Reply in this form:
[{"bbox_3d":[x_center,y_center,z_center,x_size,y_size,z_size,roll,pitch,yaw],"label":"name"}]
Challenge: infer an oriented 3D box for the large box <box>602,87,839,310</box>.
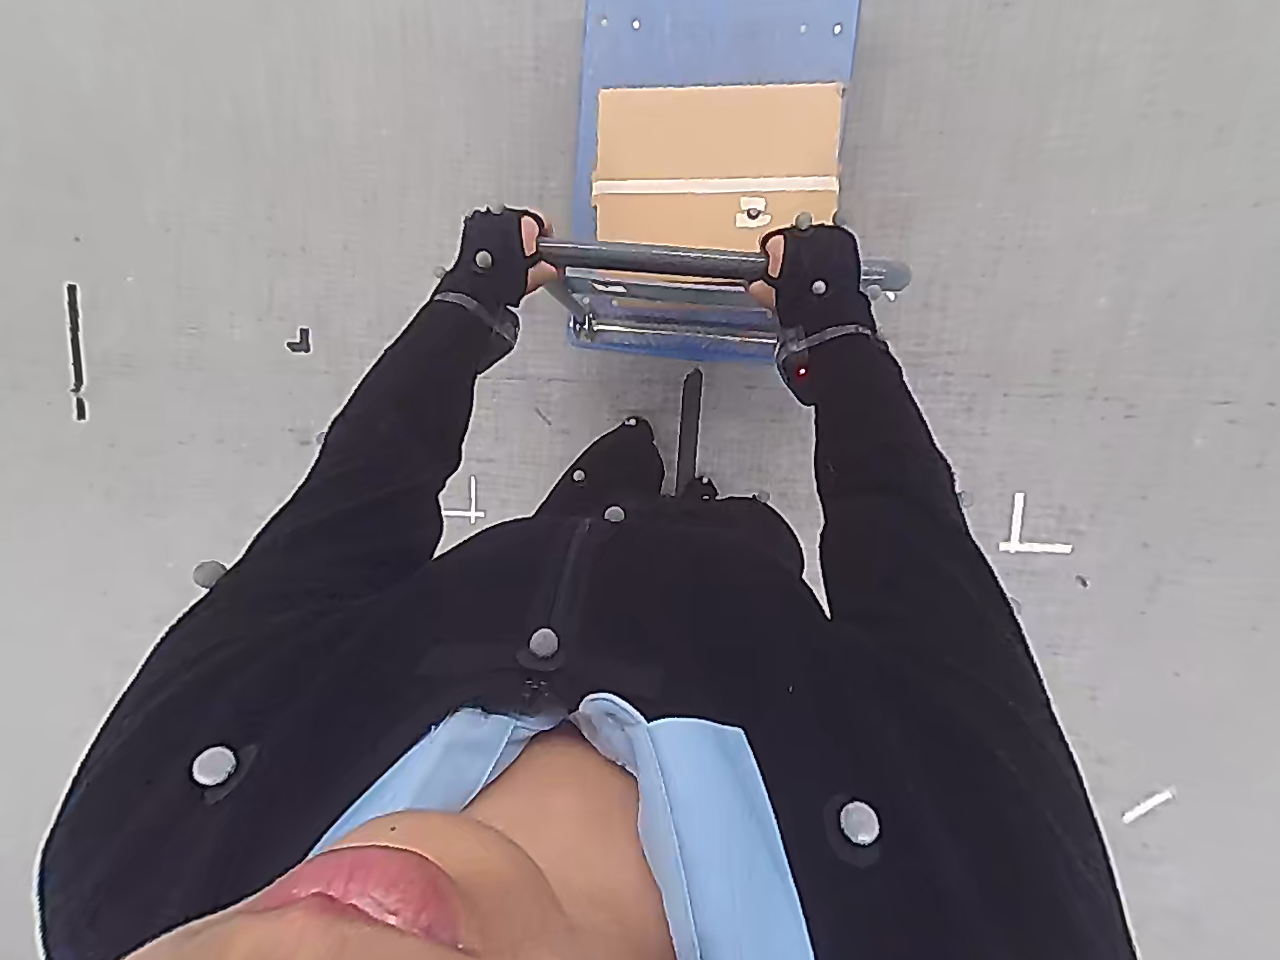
[{"bbox_3d":[0.141,-0.525,1.078,0.408,0.320,0.320,2,99,4],"label":"large box"}]
